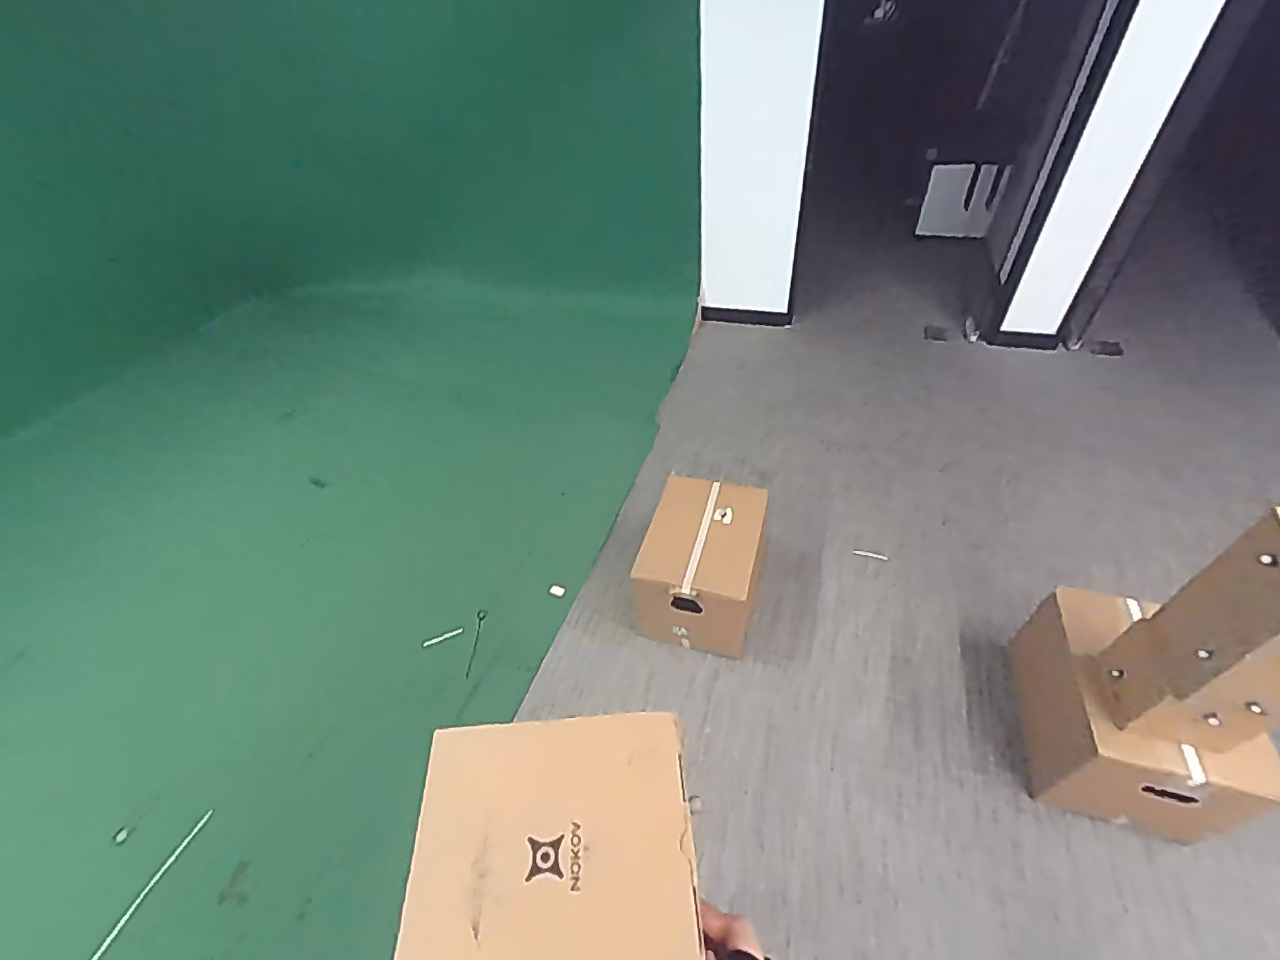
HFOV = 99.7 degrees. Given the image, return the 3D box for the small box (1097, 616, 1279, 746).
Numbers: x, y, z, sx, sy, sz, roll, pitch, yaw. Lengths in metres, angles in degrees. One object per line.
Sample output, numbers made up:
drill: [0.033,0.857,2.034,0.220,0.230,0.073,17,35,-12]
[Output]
small box: [1.047,0.393,1.048,0.179,0.176,0.168,8,47,15]

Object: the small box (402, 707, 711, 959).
small box: [-0.049,0.282,0.398,0.179,0.176,0.168,-4,48,-1]

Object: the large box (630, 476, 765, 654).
large box: [0.186,0.249,1.627,0.320,0.320,0.408,9,46,16]

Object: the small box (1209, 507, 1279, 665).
small box: [1.021,0.171,0.806,0.168,0.176,0.179,10,49,17]
